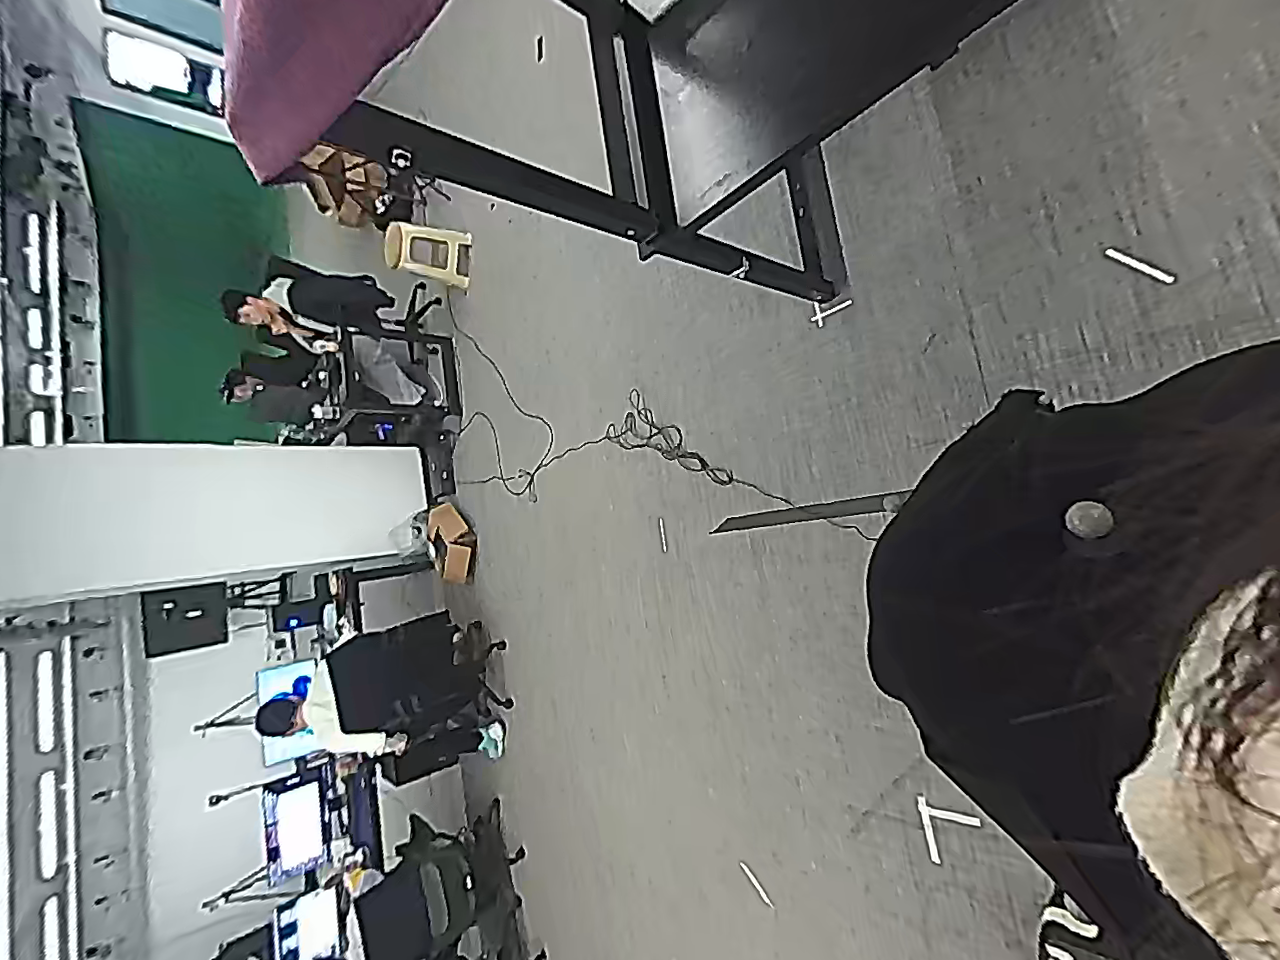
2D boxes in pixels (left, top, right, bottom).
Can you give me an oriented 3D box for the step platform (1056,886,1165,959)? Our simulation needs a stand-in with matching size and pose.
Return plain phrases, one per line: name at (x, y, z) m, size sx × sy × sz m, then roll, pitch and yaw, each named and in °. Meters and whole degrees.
step platform at (1.142, 1.039, 0.928) m, size 0.684 × 0.204 × 0.286 m, roll -6°, pitch 87°, yaw 49°
